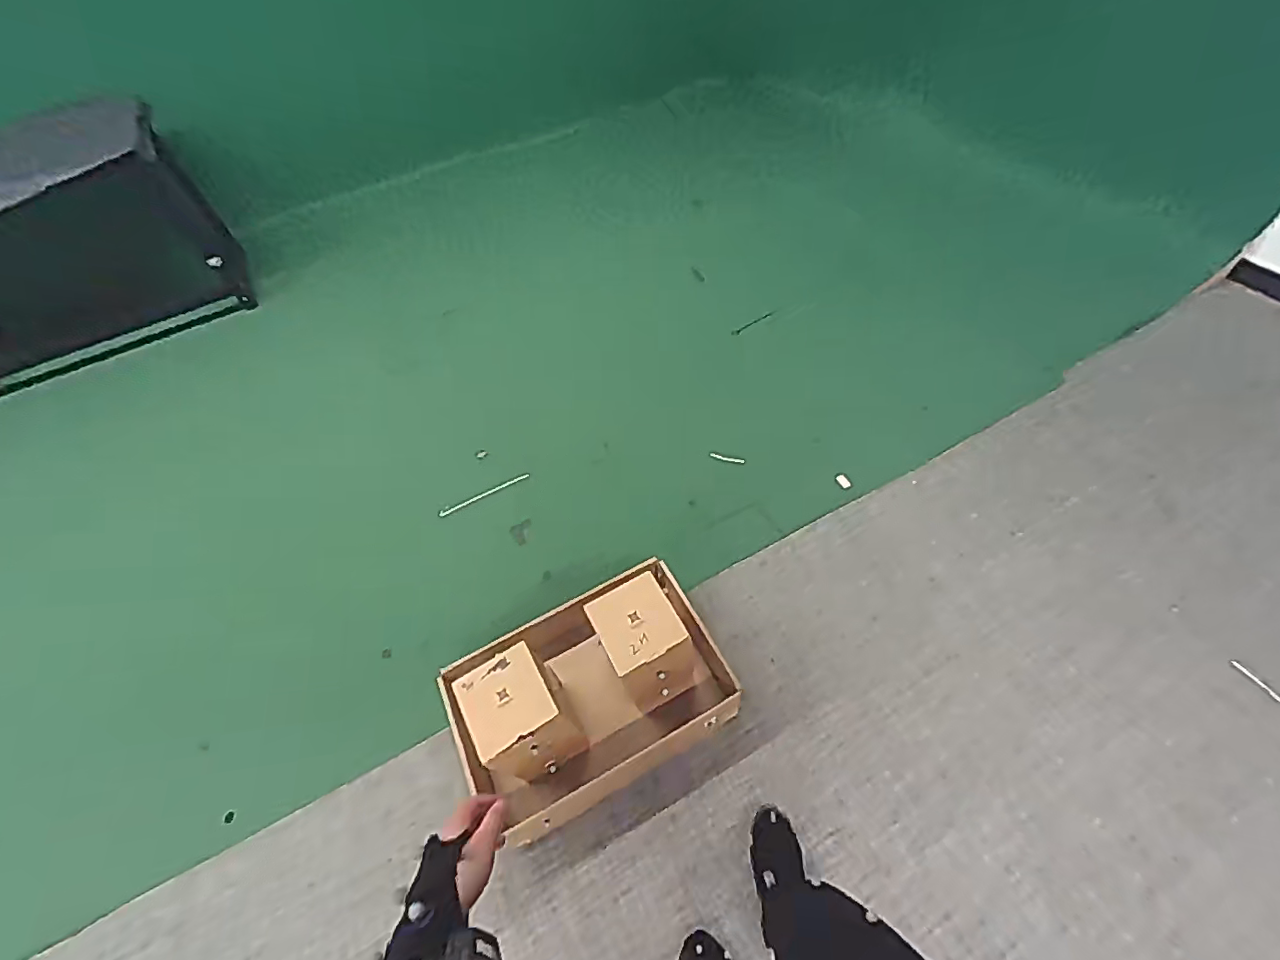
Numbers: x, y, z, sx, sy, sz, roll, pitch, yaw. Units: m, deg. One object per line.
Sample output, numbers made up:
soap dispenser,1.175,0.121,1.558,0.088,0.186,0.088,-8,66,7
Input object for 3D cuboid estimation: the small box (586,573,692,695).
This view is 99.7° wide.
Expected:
small box,0.000,0.340,1.183,0.168,0.176,0.179,-27,58,-11

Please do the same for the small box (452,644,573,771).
small box,-0.256,0.476,1.116,0.168,0.176,0.179,-29,58,-14
